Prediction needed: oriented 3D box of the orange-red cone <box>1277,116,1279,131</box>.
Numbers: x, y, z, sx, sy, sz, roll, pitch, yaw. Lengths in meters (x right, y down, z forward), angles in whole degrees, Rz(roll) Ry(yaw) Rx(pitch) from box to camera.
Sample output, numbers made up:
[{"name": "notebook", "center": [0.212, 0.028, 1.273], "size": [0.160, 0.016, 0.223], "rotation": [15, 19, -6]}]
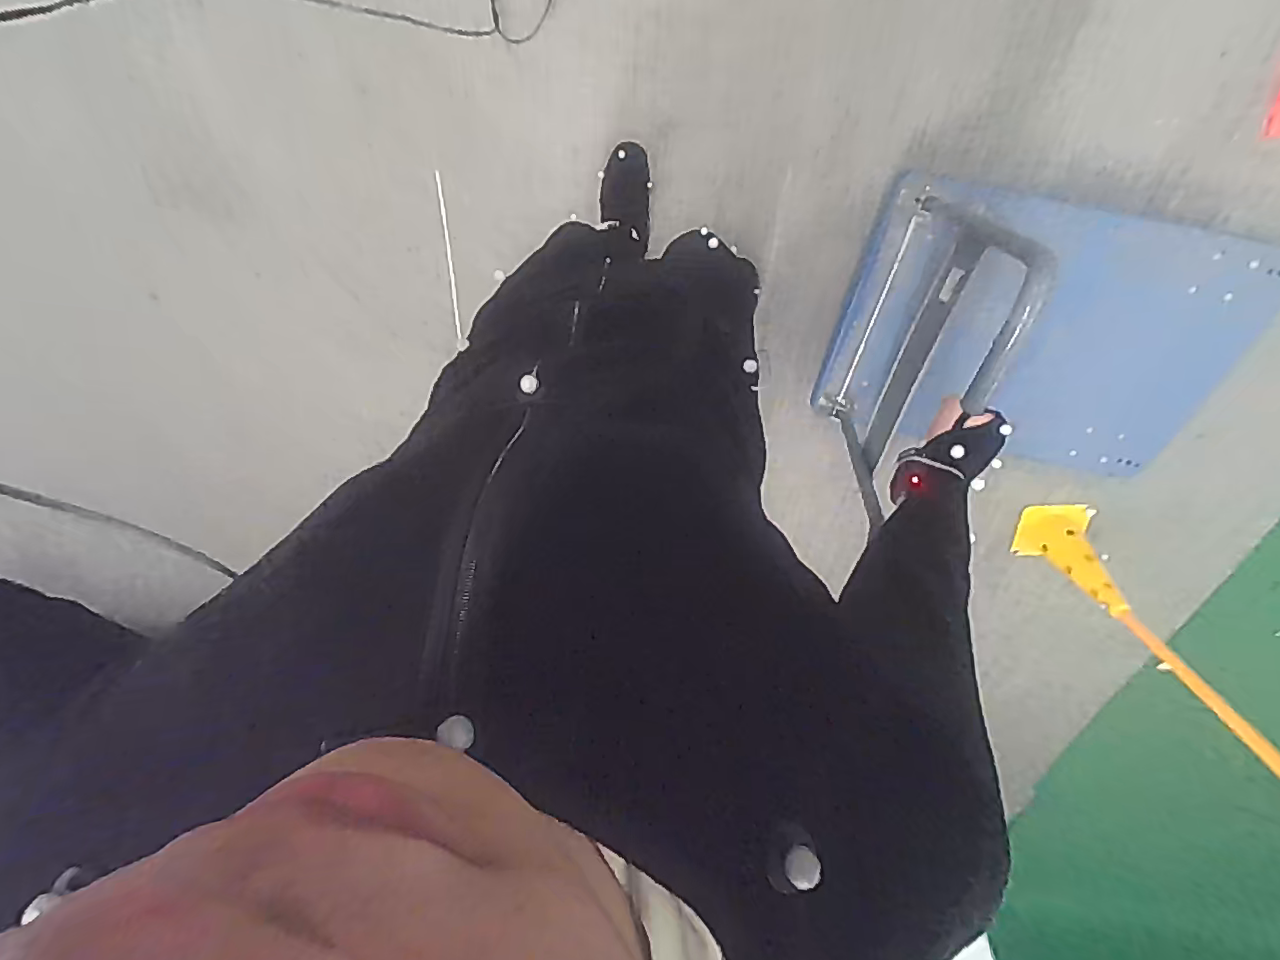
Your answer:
[{"name": "orange-red cone", "center": [1.385, -0.720, 0.923], "size": [0.198, 0.360, 0.199], "rotation": [-5, 121, 11]}]
